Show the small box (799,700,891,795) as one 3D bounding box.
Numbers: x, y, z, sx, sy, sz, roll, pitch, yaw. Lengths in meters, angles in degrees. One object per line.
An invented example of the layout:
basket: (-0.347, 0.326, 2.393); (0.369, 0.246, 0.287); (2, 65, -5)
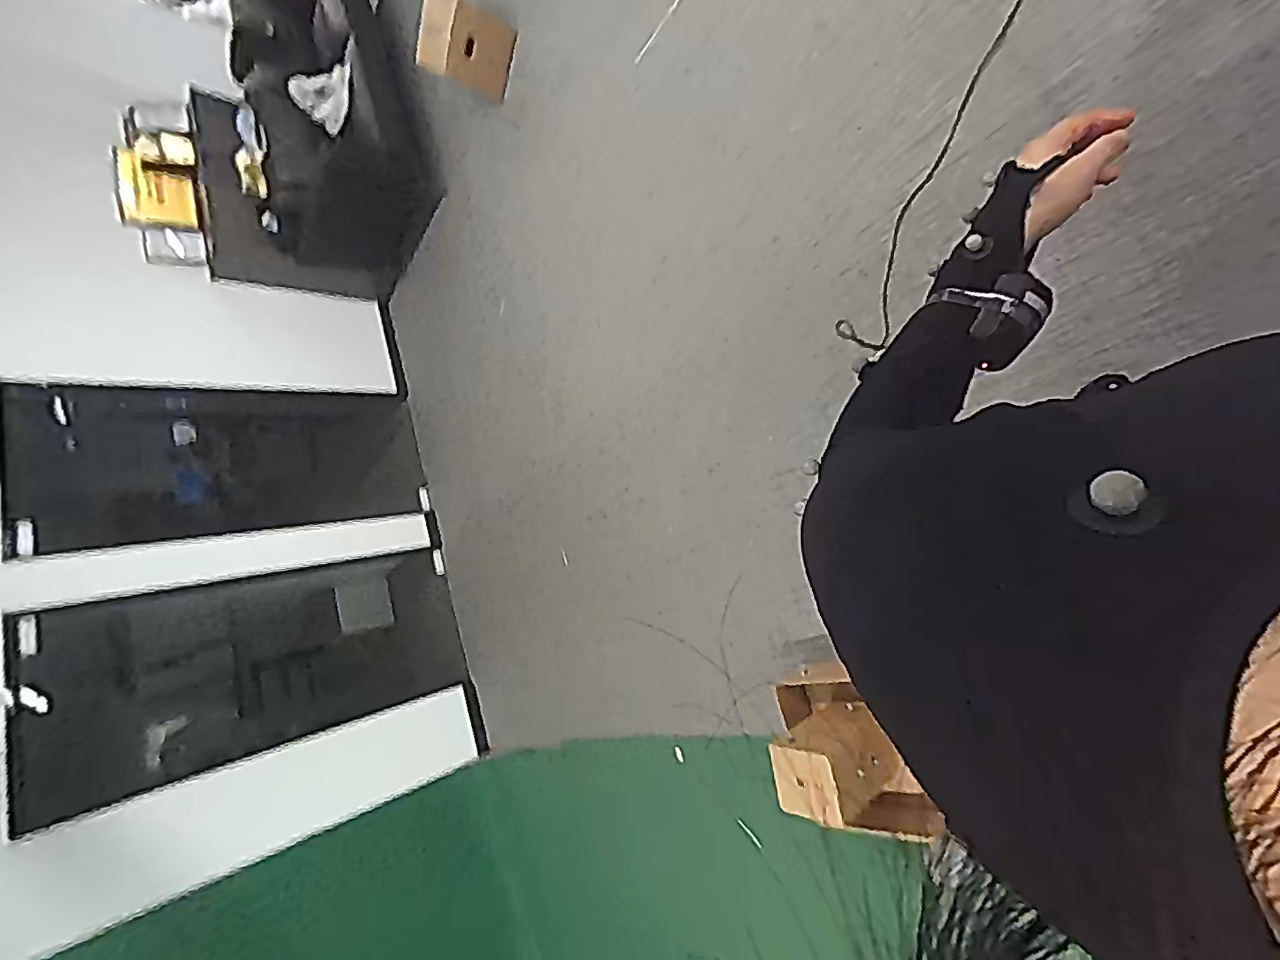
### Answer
small box: (0.572, 0.731, 1.498); (0.168, 0.176, 0.179); (-17, 80, 46)

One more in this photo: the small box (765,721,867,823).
small box: (0.452, 0.736, 1.386); (0.179, 0.176, 0.168); (-16, 82, 46)
